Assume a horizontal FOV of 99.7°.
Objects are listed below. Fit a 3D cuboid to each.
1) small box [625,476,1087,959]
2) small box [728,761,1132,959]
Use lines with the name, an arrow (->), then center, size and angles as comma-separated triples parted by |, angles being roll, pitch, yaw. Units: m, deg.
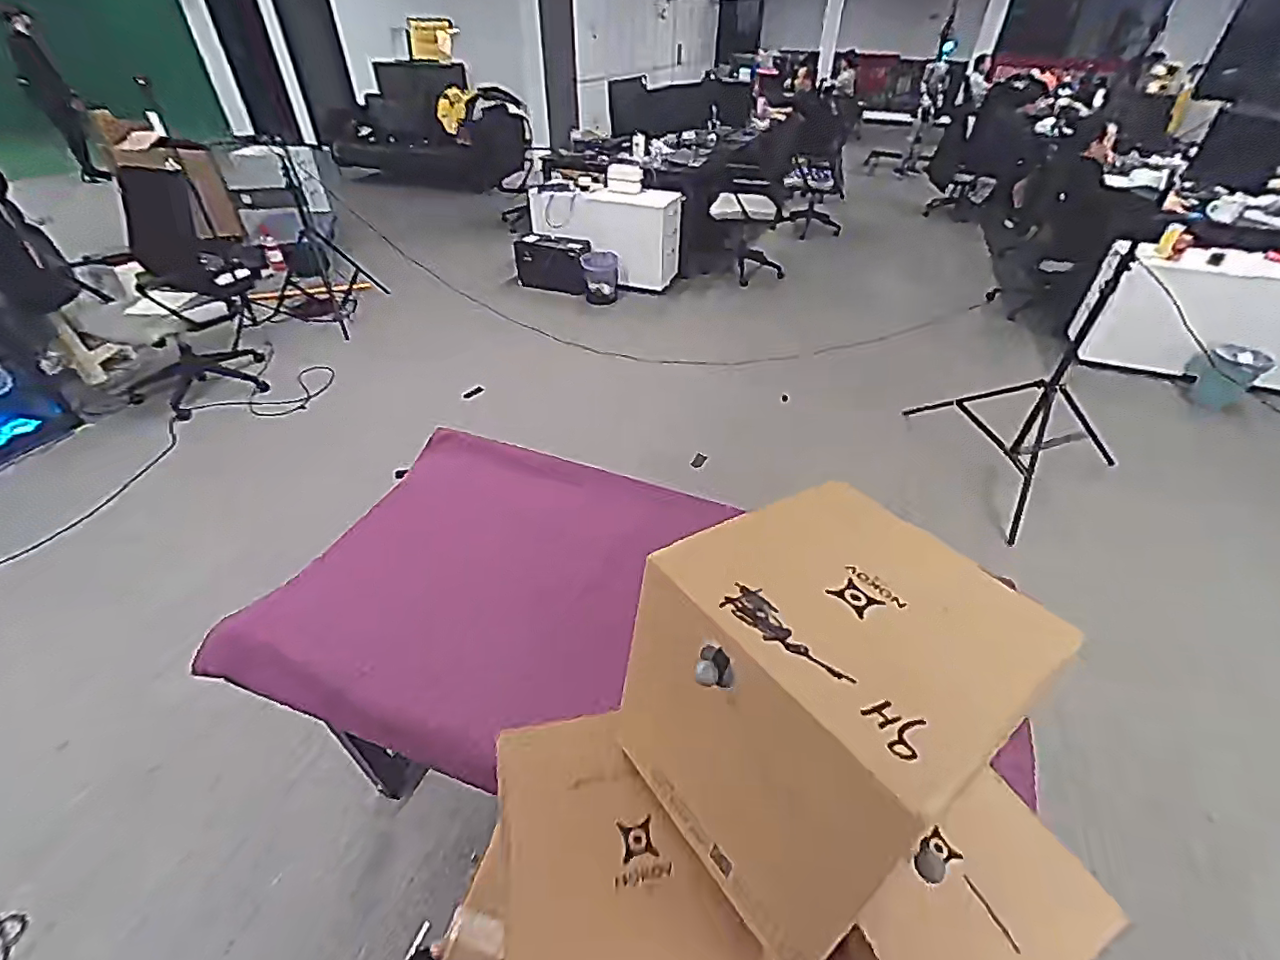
small box -> 0.109, 0.124, 0.328 | 0.179, 0.176, 0.168 | -16, 39, -34
small box -> 0.174, 0.292, 0.394 | 0.168, 0.176, 0.179 | -10, 41, -24
